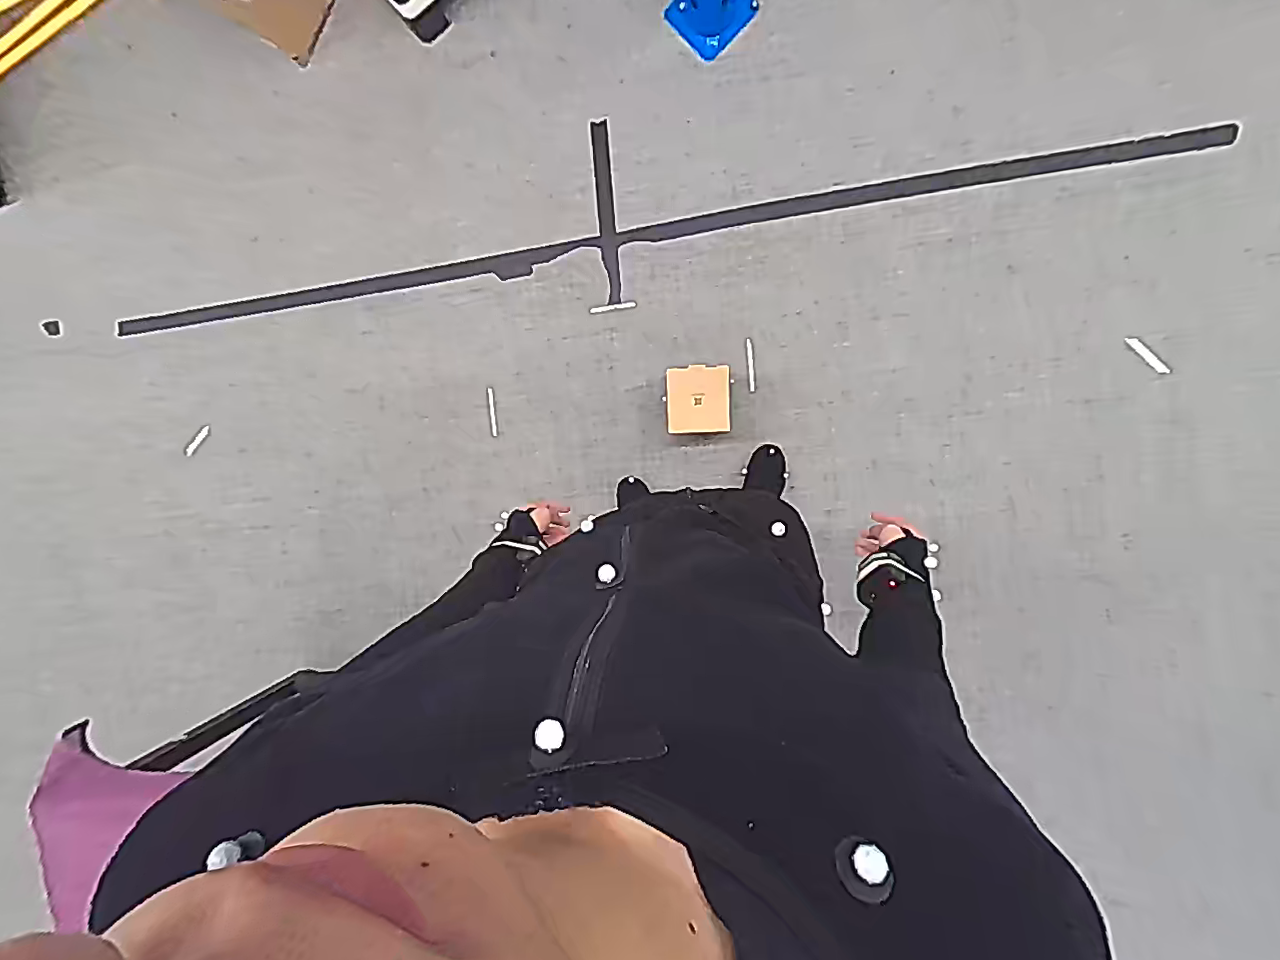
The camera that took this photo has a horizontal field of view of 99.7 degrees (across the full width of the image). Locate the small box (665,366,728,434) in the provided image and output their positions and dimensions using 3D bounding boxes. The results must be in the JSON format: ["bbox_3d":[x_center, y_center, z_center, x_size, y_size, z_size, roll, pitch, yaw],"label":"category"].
[{"bbox_3d":[0.161,-0.219,1.516,0.168,0.176,0.179,-1,94,9],"label":"small box"}]
